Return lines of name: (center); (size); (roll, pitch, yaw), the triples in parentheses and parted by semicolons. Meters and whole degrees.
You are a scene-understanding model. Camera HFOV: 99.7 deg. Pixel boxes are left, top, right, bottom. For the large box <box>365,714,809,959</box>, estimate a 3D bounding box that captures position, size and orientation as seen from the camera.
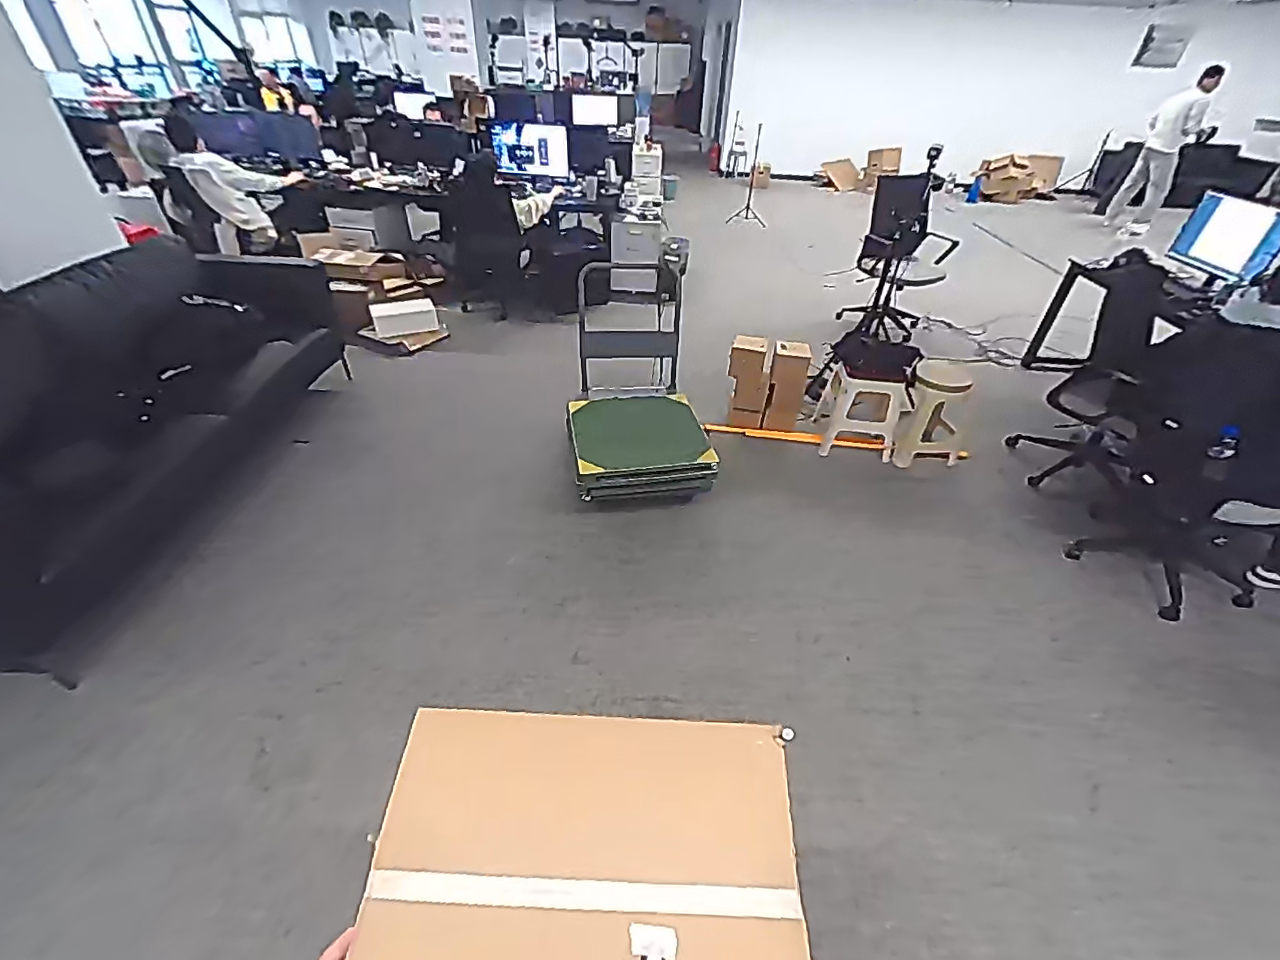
large box: (-0.050, 0.480, 0.628); (0.408, 0.320, 0.320); (2, 53, 0)
